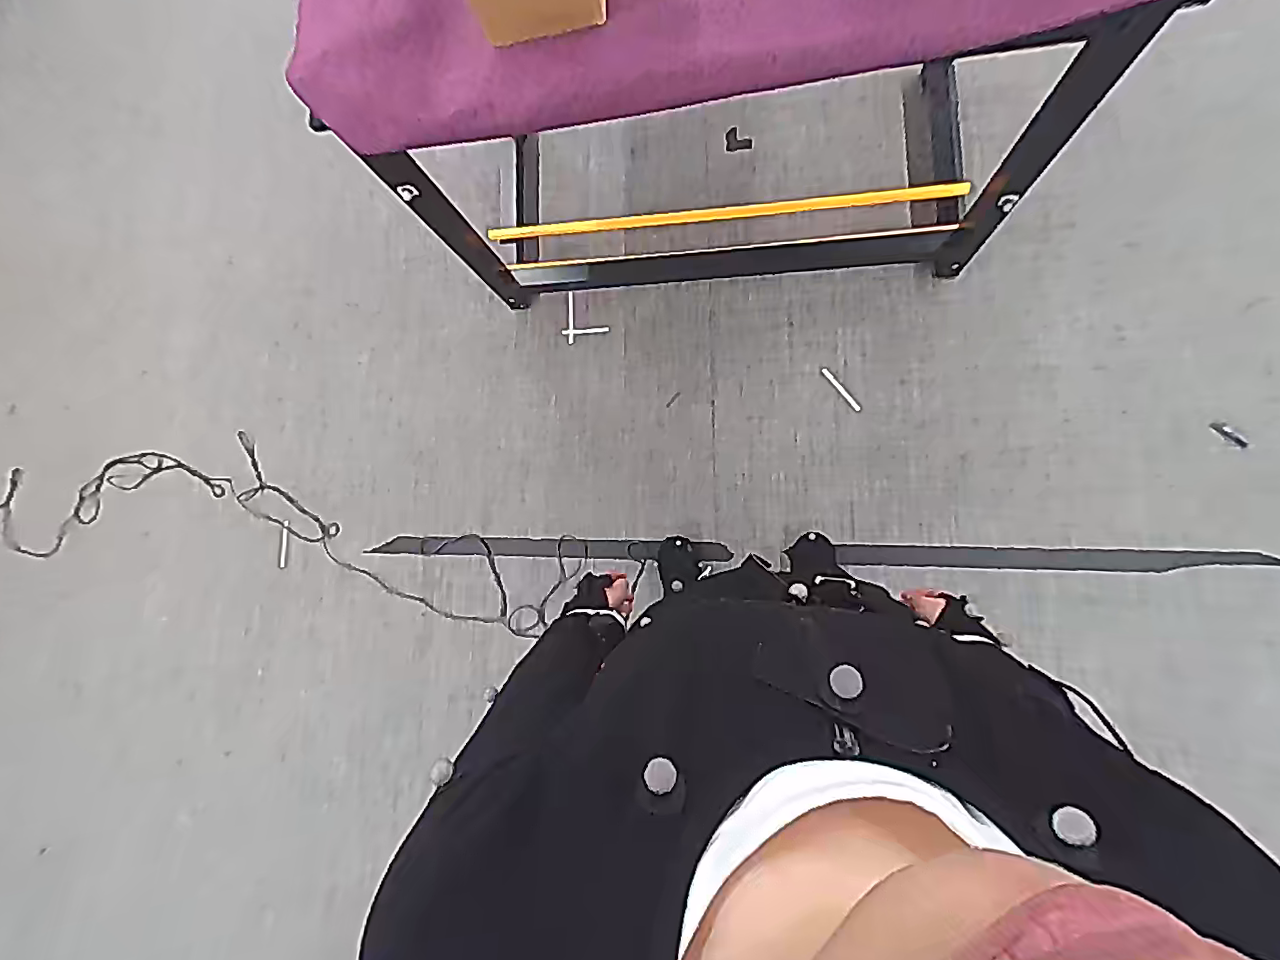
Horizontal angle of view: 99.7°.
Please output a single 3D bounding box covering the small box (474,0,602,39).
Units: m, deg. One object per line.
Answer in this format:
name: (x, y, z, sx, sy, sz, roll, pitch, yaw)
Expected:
small box: (-0.146, -0.732, 0.706, 0.179, 0.176, 0.168, -3, 84, 10)
